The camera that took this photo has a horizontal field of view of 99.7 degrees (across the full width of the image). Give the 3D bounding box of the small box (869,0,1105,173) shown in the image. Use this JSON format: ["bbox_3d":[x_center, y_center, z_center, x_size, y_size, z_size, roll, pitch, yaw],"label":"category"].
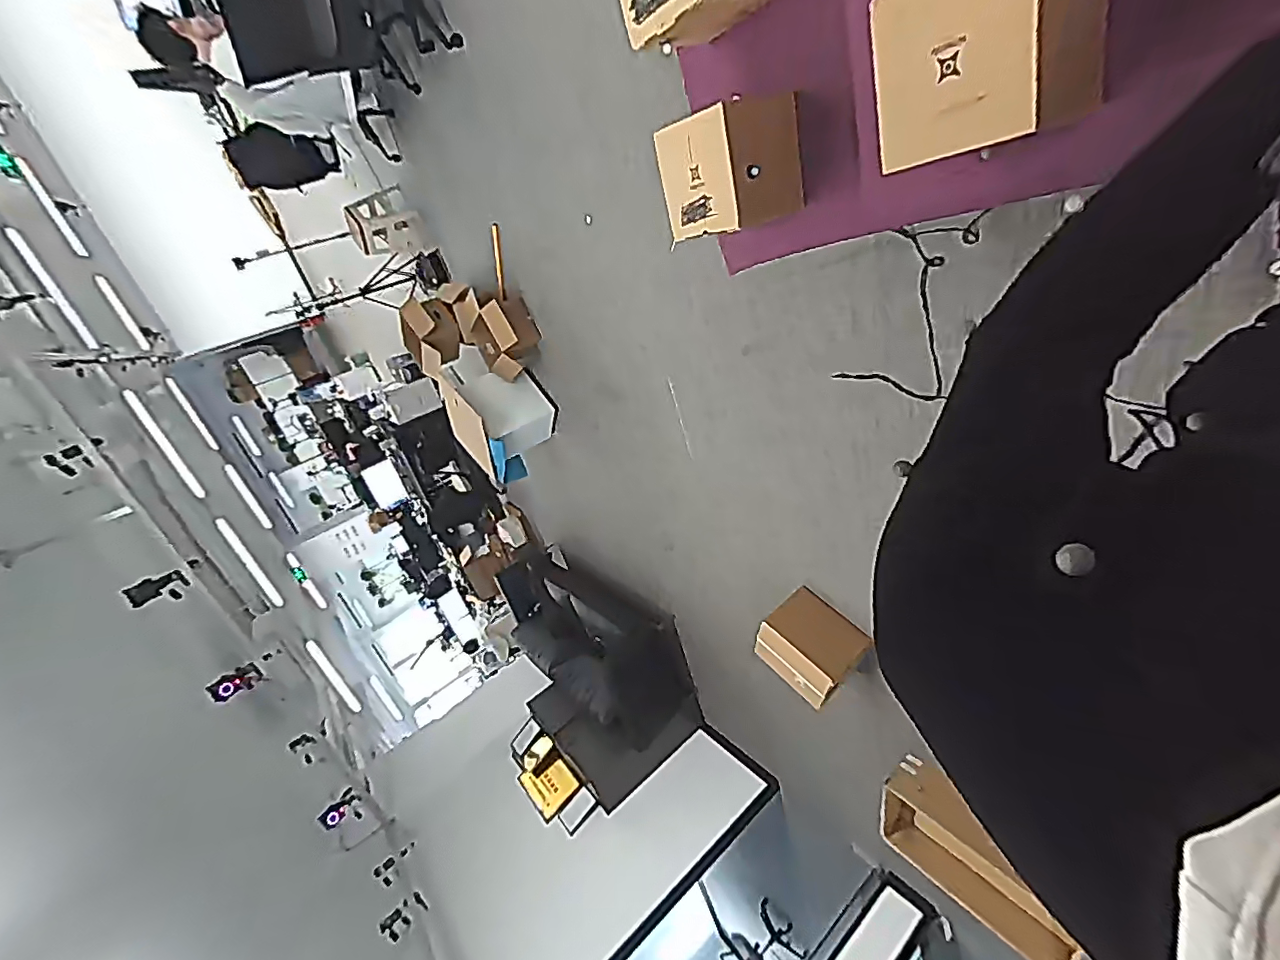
[{"bbox_3d":[0.382,-0.470,0.601,0.168,0.176,0.179,19,133,52],"label":"small box"}]

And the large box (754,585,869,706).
[{"bbox_3d":[0.822,0.796,2.635,0.408,0.320,0.320,38,147,33],"label":"large box"}]

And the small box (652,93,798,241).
[{"bbox_3d":[0.150,-0.527,0.921,0.168,0.176,0.179,20,132,50],"label":"small box"}]
